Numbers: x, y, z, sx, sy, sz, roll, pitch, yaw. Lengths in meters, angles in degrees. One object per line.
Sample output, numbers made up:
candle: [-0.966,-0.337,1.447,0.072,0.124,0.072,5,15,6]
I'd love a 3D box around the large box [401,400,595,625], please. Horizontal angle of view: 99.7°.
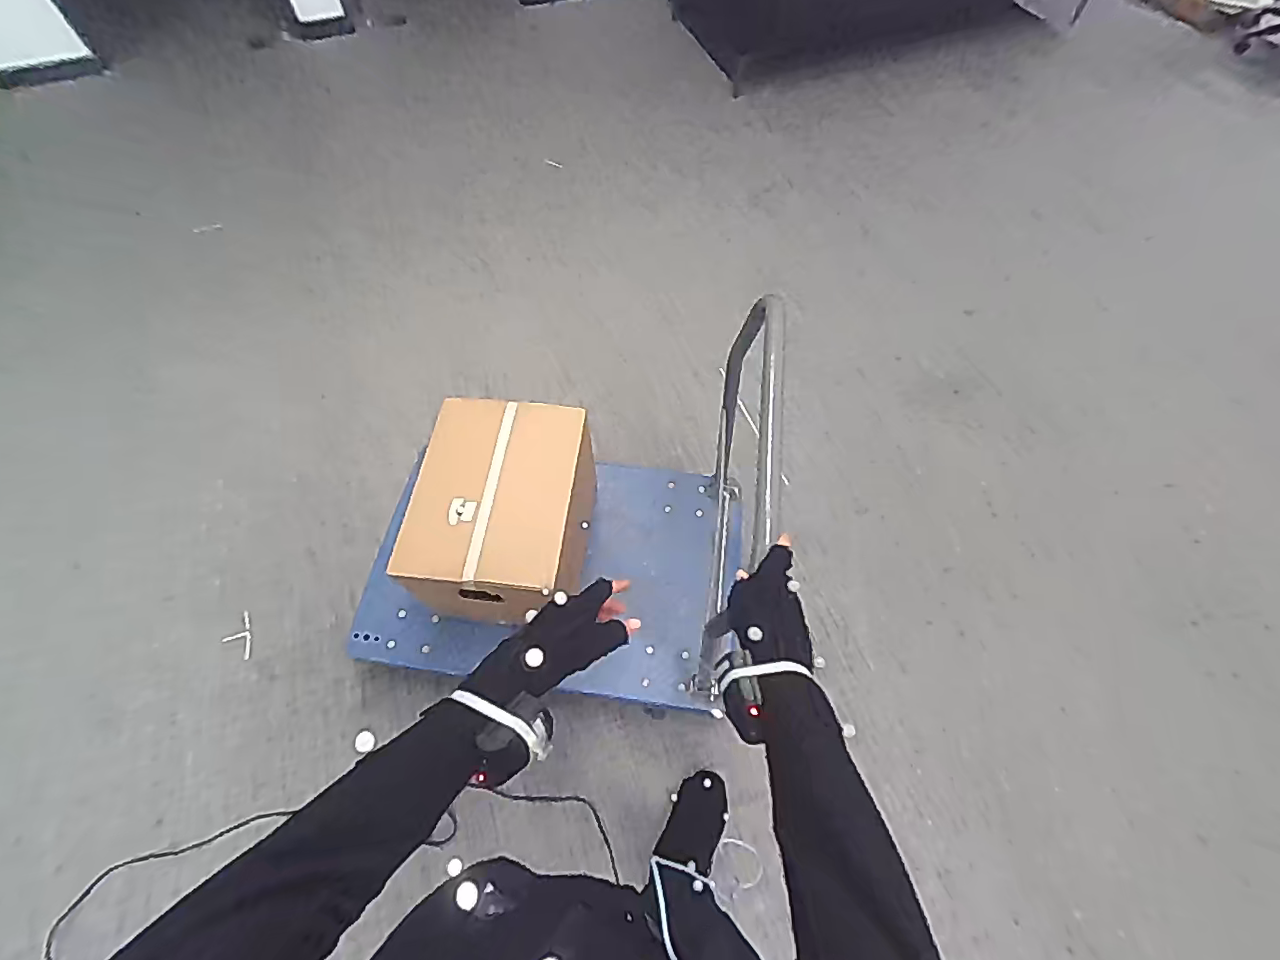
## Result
large box: [-0.278,0.079,1.213,0.320,0.320,0.408,5,62,3]
